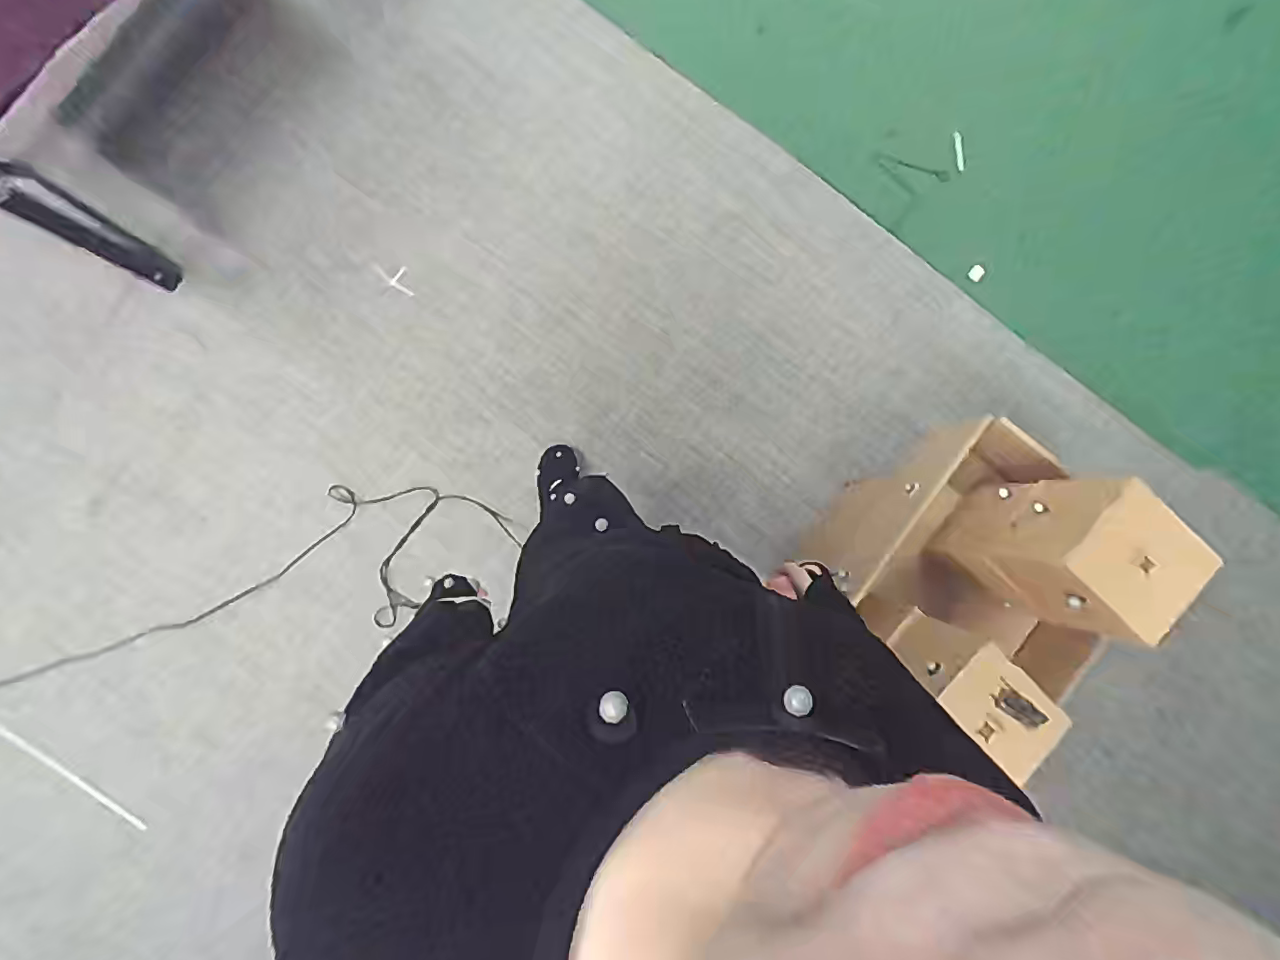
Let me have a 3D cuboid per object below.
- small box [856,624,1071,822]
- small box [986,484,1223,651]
[{"bbox_3d":[0.460,0.339,0.797,0.168,0.176,0.179,45,85,0],"label":"small box"},{"bbox_3d":[0.689,0.122,0.823,0.179,0.176,0.168,44,85,0],"label":"small box"}]
